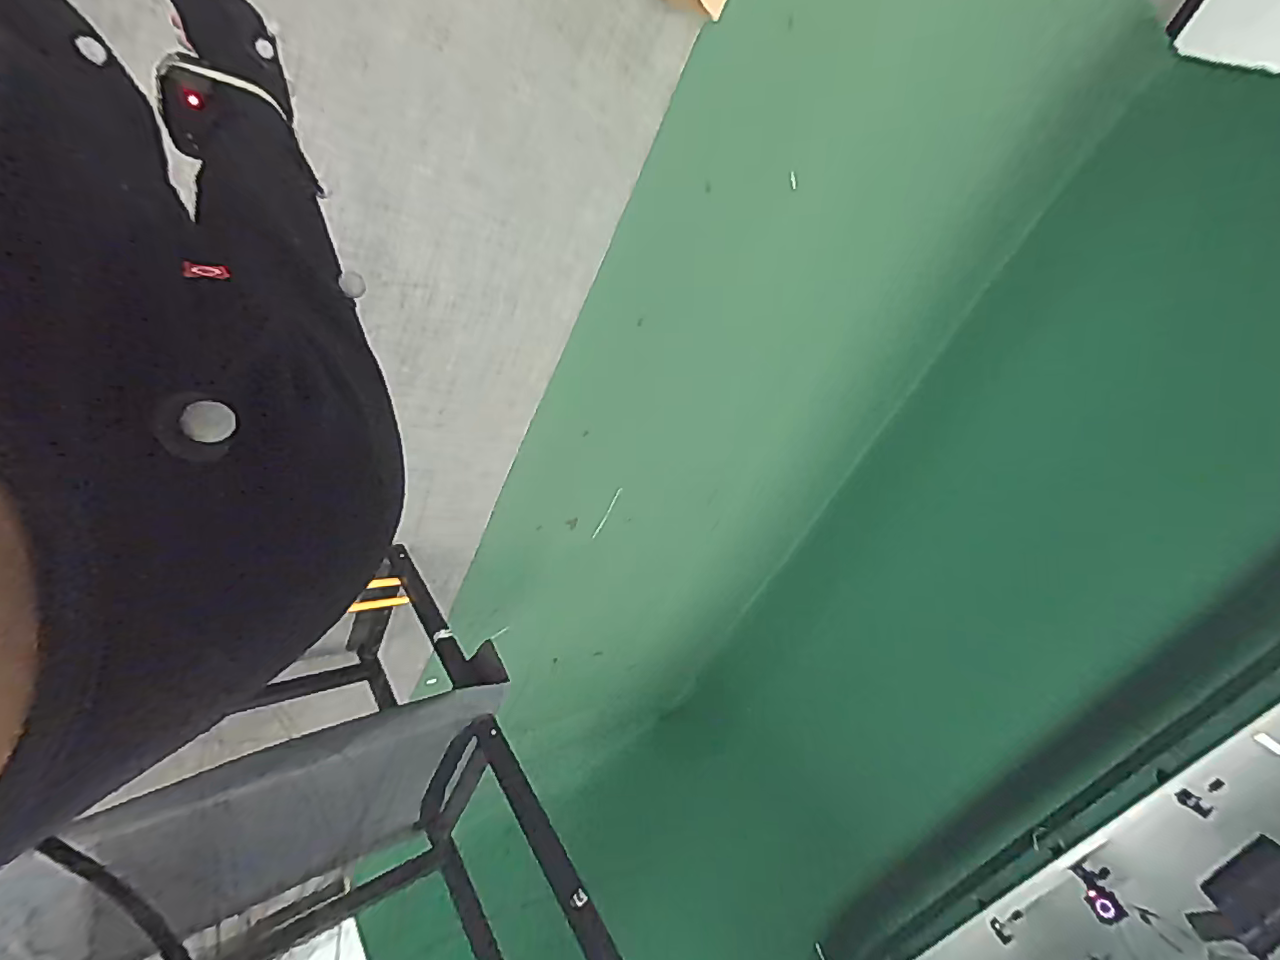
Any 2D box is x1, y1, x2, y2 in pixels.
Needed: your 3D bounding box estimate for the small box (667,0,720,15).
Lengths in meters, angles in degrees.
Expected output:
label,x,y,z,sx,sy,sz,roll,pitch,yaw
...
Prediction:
label,x,y,z,sx,sy,sz,roll,pitch,yaw
small box,0.117,-1.261,1.280,0.168,0.176,0.179,2,124,-49
